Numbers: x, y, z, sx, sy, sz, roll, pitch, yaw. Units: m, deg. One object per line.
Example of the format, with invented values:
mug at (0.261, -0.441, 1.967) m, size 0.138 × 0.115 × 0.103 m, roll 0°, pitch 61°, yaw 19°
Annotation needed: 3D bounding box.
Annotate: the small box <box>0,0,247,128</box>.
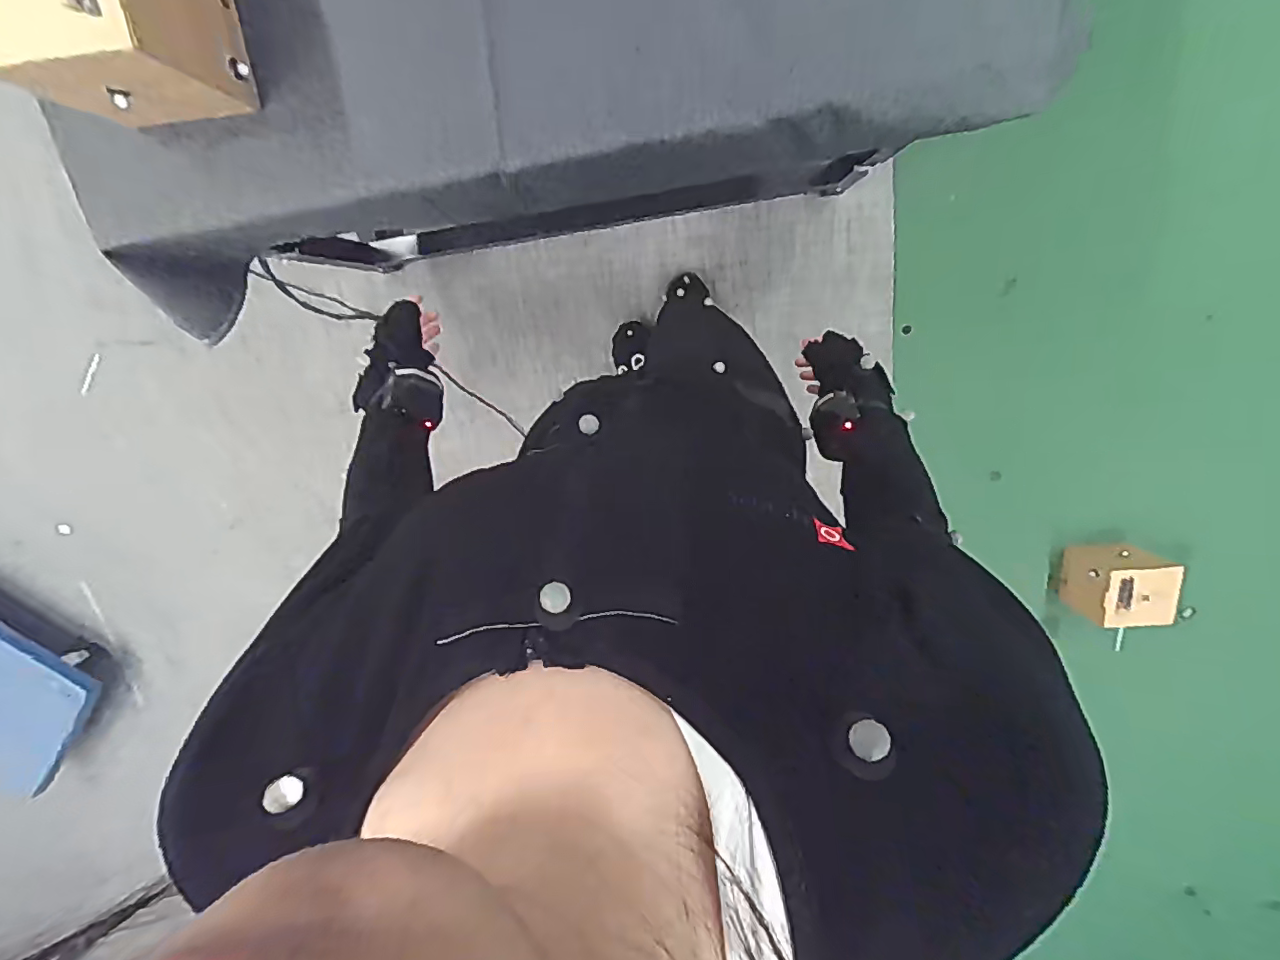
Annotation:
small box at (-0.559, -0.495, 0.567) m, size 0.179 × 0.176 × 0.168 m, roll -4°, pitch 106°, yaw 4°
